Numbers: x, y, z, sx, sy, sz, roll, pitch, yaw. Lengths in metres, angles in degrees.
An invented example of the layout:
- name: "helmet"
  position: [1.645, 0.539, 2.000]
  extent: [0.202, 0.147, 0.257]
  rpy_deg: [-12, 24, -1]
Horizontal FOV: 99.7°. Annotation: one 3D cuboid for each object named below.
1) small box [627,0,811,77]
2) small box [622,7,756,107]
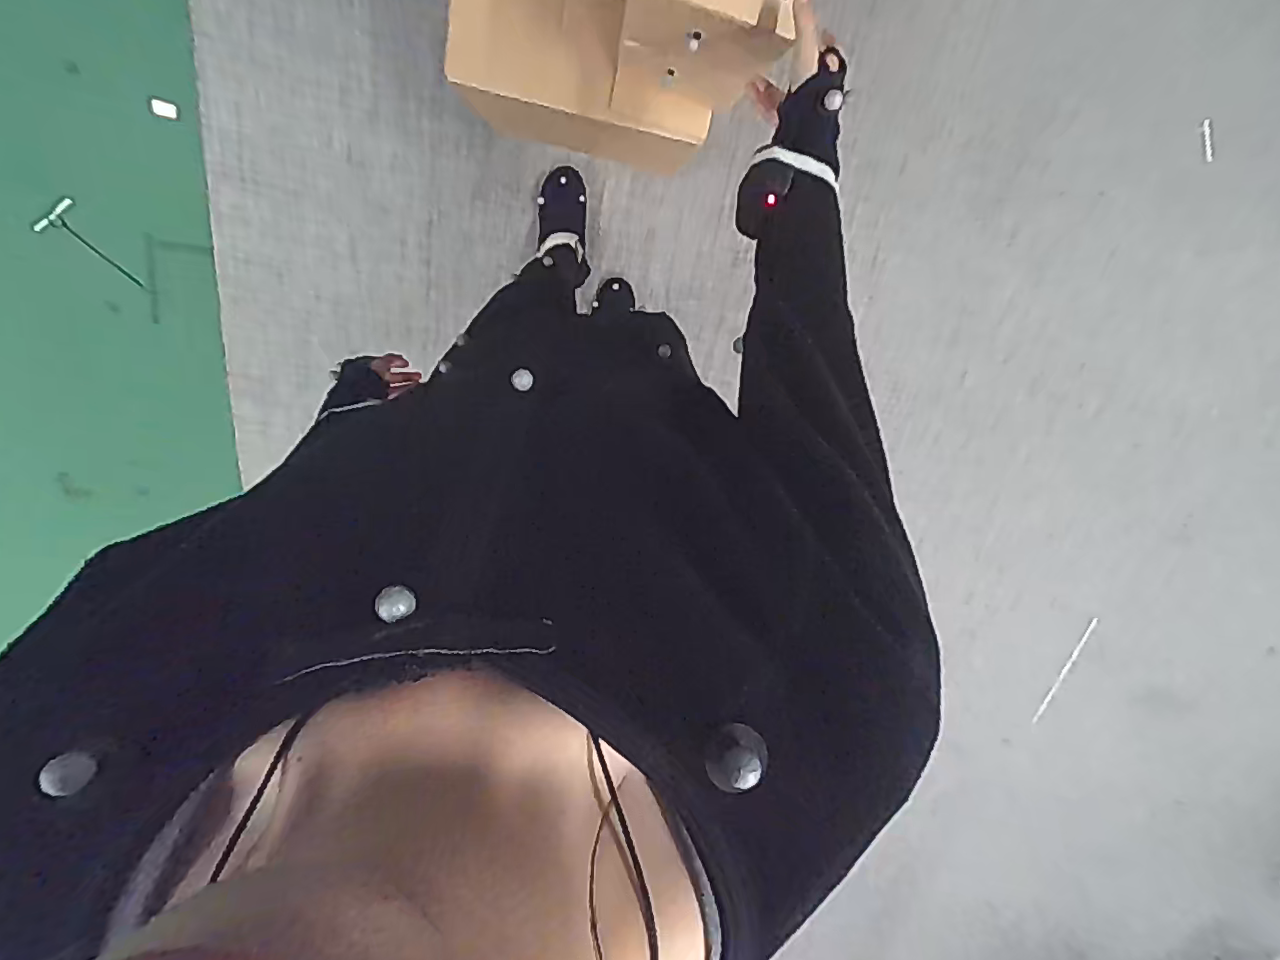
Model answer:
- name: "small box"
  position: [0.091, -0.557, 0.567]
  extent: [0.179, 0.176, 0.168]
  rpy_deg: [13, 113, -8]
- name: "small box"
  position: [0.079, -0.623, 0.716]
  extent: [0.179, 0.176, 0.168]
  rpy_deg: [12, 115, -7]
